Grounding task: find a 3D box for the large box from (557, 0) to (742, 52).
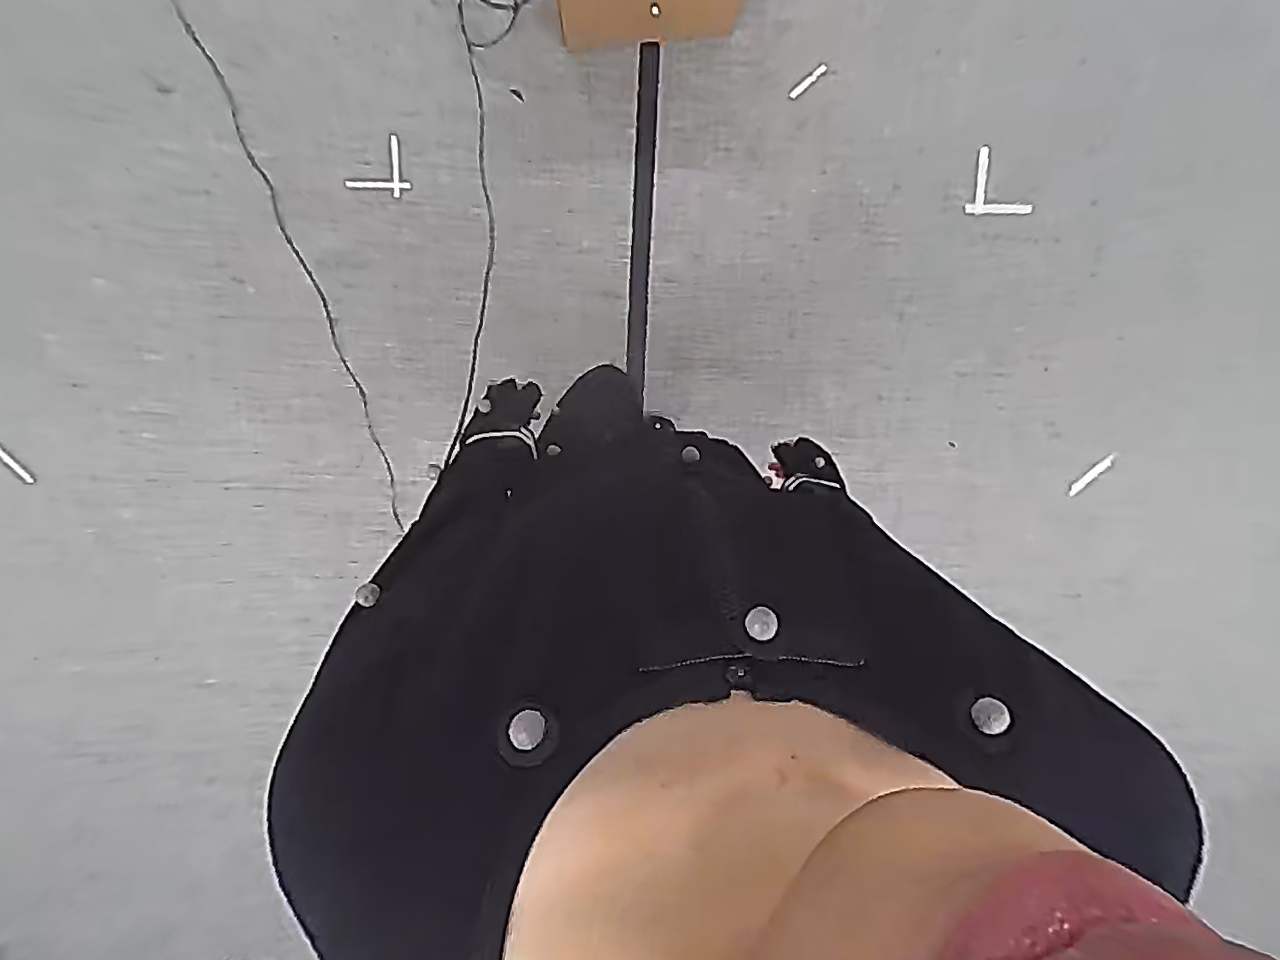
[{"bbox_3d":[0.010,-1.160,1.118,0.408,0.320,0.320,-7,101,-1],"label":"large box"}]
